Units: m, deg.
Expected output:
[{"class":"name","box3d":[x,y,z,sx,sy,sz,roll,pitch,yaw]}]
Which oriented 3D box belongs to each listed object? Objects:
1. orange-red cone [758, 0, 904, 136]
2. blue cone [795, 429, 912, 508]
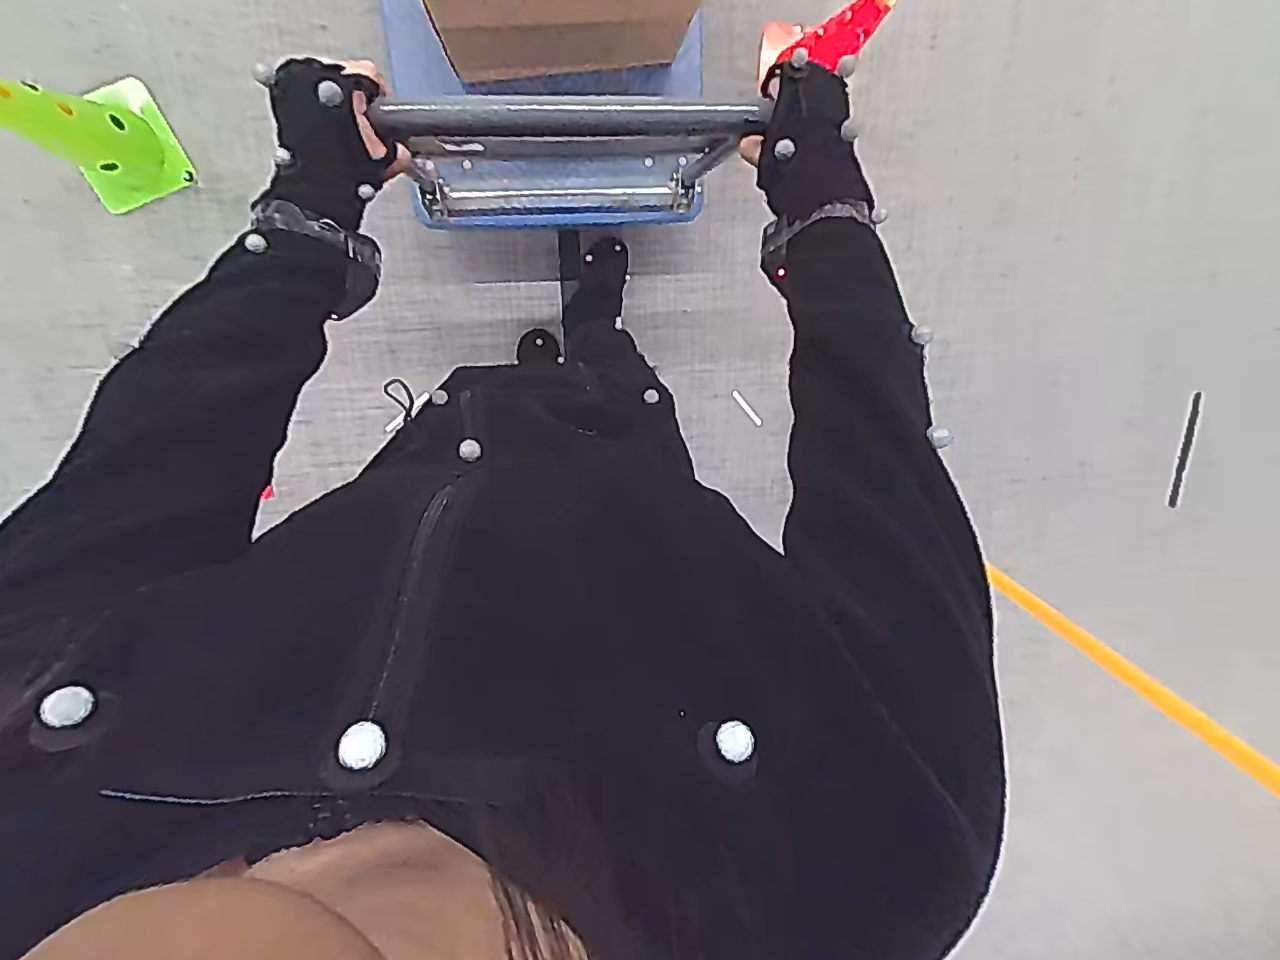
[{"class":"orange-red cone","box3d":[0.395,-0.844,1.052,0.199,0.360,0.198,2,107,-10]},{"class":"blue cone","box3d":[0.547,0.005,1.344,0.193,0.380,0.192,-8,106,-6]}]
